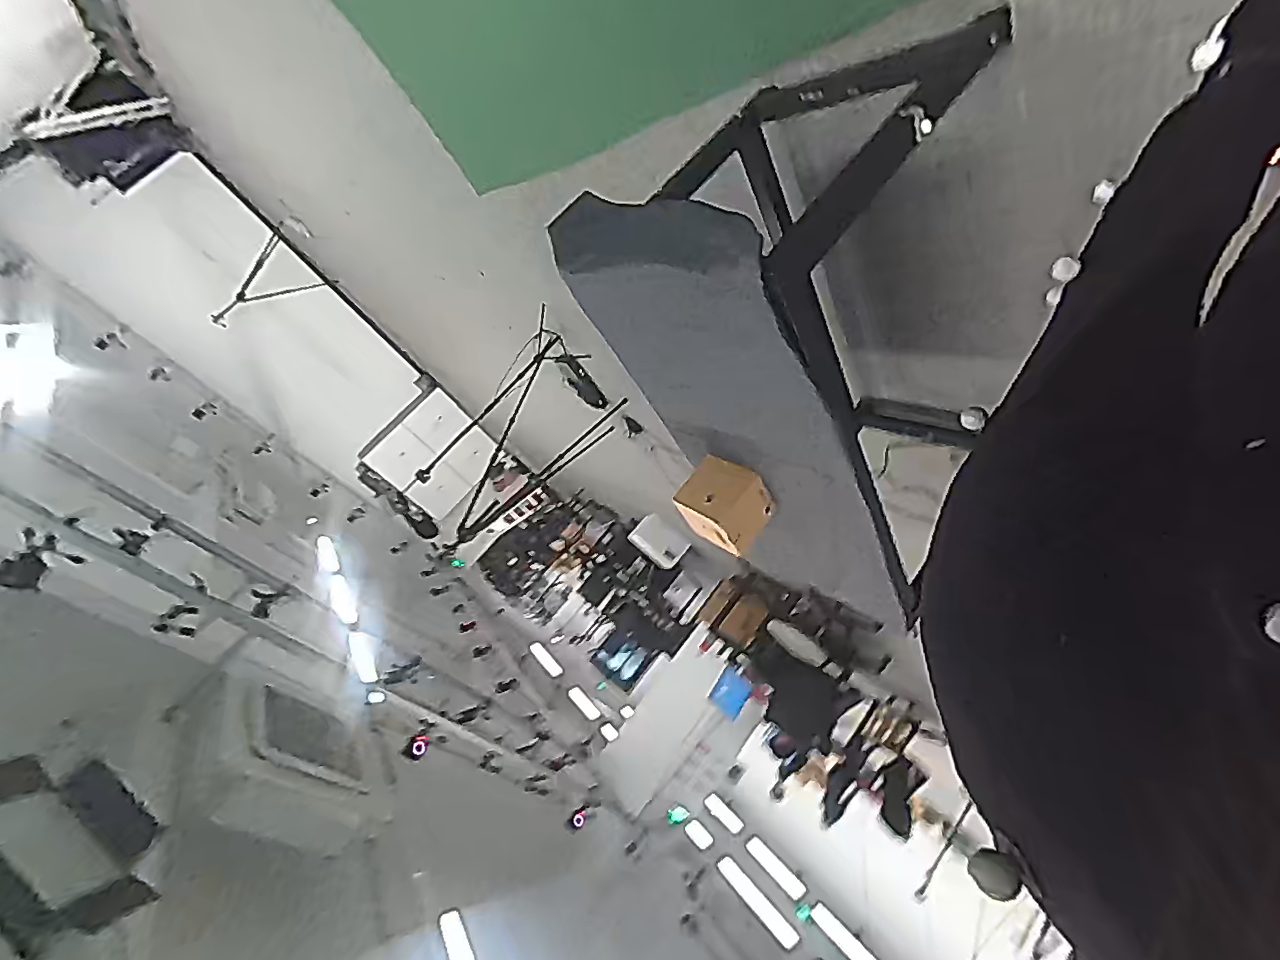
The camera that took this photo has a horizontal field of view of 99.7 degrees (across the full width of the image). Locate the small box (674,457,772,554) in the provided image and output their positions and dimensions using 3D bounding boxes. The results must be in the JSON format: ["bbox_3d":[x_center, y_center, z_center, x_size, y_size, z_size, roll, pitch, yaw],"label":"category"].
[{"bbox_3d":[0.229,0.062,1.440,0.179,0.176,0.168,27,161,45],"label":"small box"}]
